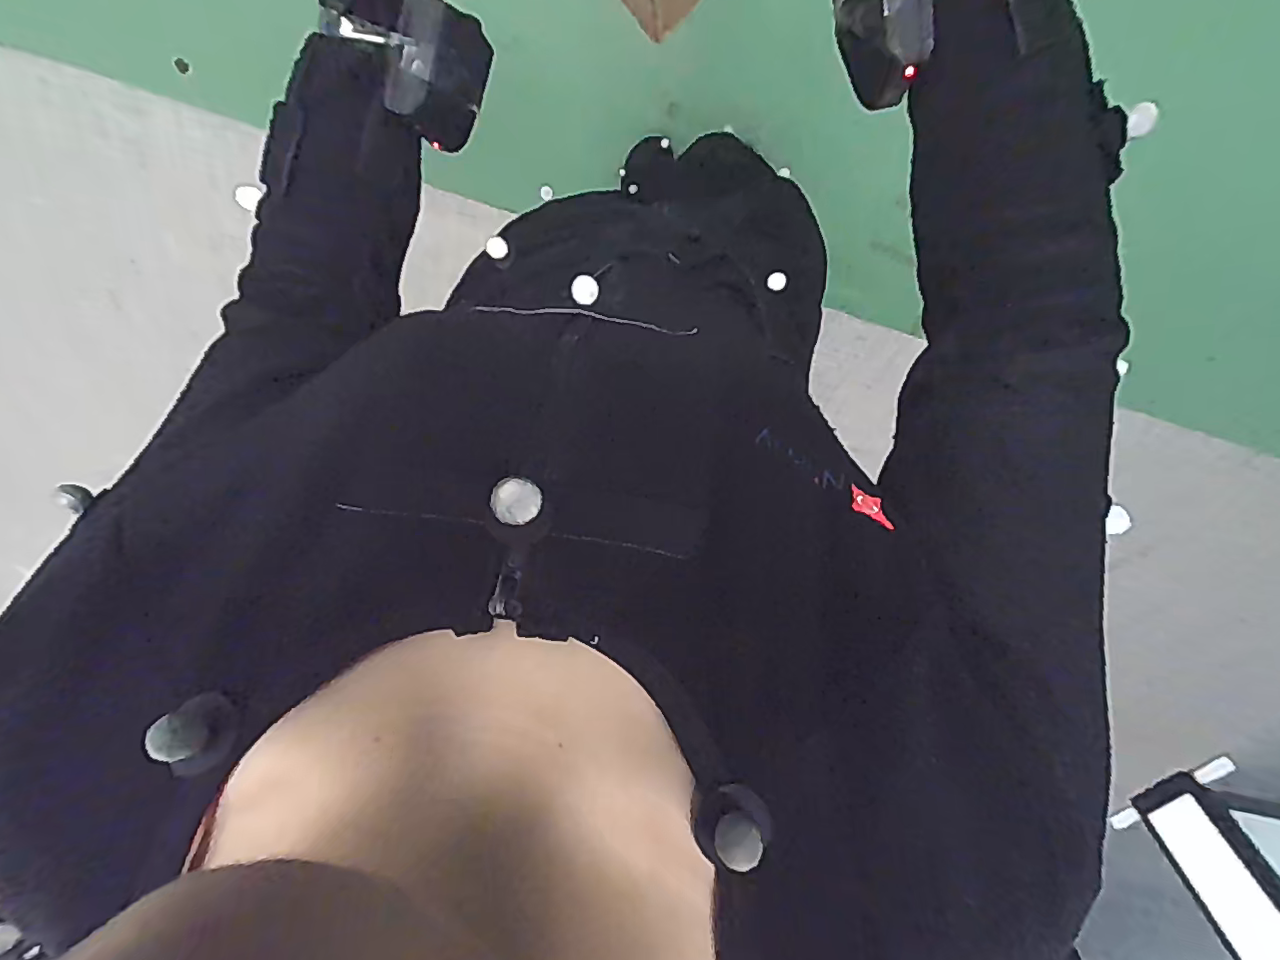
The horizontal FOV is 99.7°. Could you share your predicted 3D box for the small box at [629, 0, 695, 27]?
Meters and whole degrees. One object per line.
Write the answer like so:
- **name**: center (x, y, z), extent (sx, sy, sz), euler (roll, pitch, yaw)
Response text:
- **small box**: center (0.010, -0.354, 0.228), extent (0.168, 0.176, 0.179), euler (43, 112, -14)
